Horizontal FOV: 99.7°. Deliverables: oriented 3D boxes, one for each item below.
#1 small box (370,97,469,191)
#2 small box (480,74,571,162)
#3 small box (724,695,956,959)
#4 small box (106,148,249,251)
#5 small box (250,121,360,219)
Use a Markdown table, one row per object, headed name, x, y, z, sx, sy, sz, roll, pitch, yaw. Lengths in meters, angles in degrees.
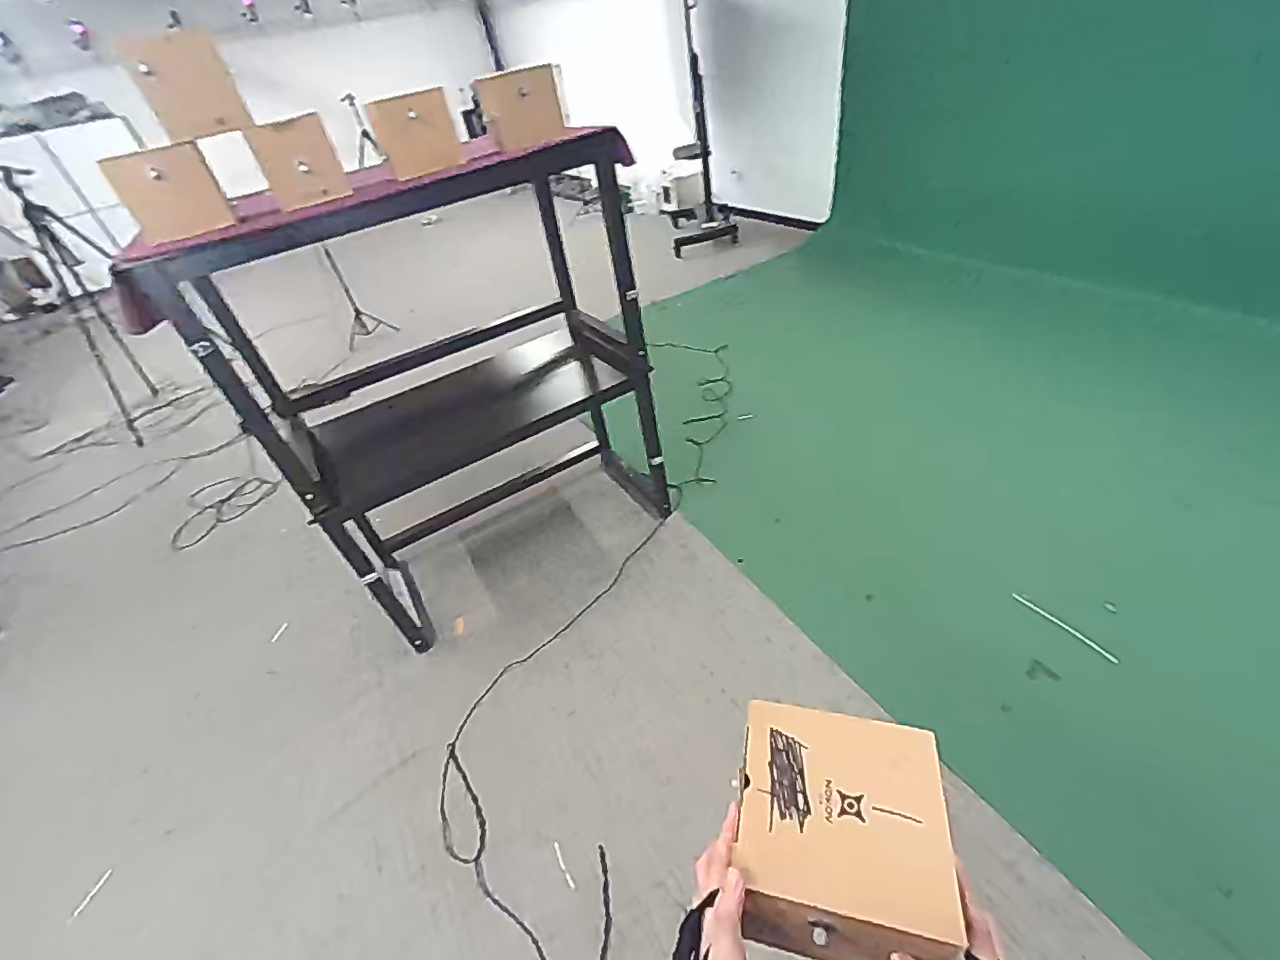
| name | x | y | z | sx | sy | sz | roll | pitch | yaw |
| --- | --- | --- | --- | --- | --- | --- | --- | --- | --- |
| small box | -0.554 | -0.856 | 1.379 | 0.179 | 0.176 | 0.168 | -27 | 40 | -17 |
| small box | -0.308 | -0.978 | 1.465 | 0.179 | 0.176 | 0.168 | -25 | 41 | -15 |
| small box | 0.179 | 0.342 | 0.529 | 0.179 | 0.176 | 0.168 | 5 | 40 | 14 |
| small box | -1.015 | -0.626 | 1.204 | 0.179 | 0.176 | 0.168 | -27 | 41 | -21 |
| small box | -0.793 | -0.737 | 1.288 | 0.168 | 0.176 | 0.179 | -27 | 40 | -19 |
